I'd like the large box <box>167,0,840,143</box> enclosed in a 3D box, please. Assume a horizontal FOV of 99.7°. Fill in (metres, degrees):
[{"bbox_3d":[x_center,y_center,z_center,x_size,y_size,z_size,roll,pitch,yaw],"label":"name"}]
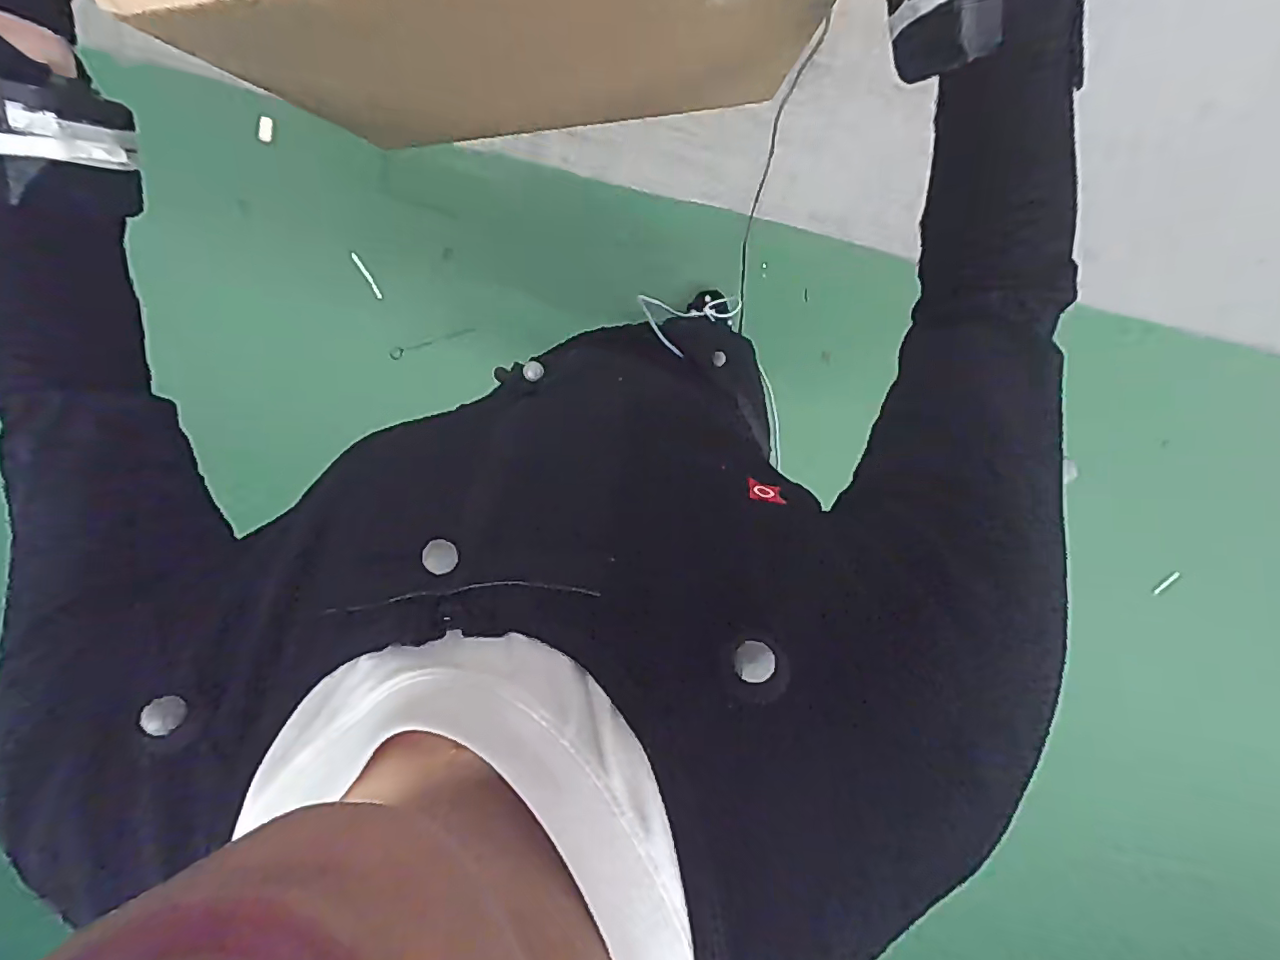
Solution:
[{"bbox_3d":[-0.071,-0.460,0.360,0.408,0.320,0.320,-6,111,3],"label":"large box"}]
